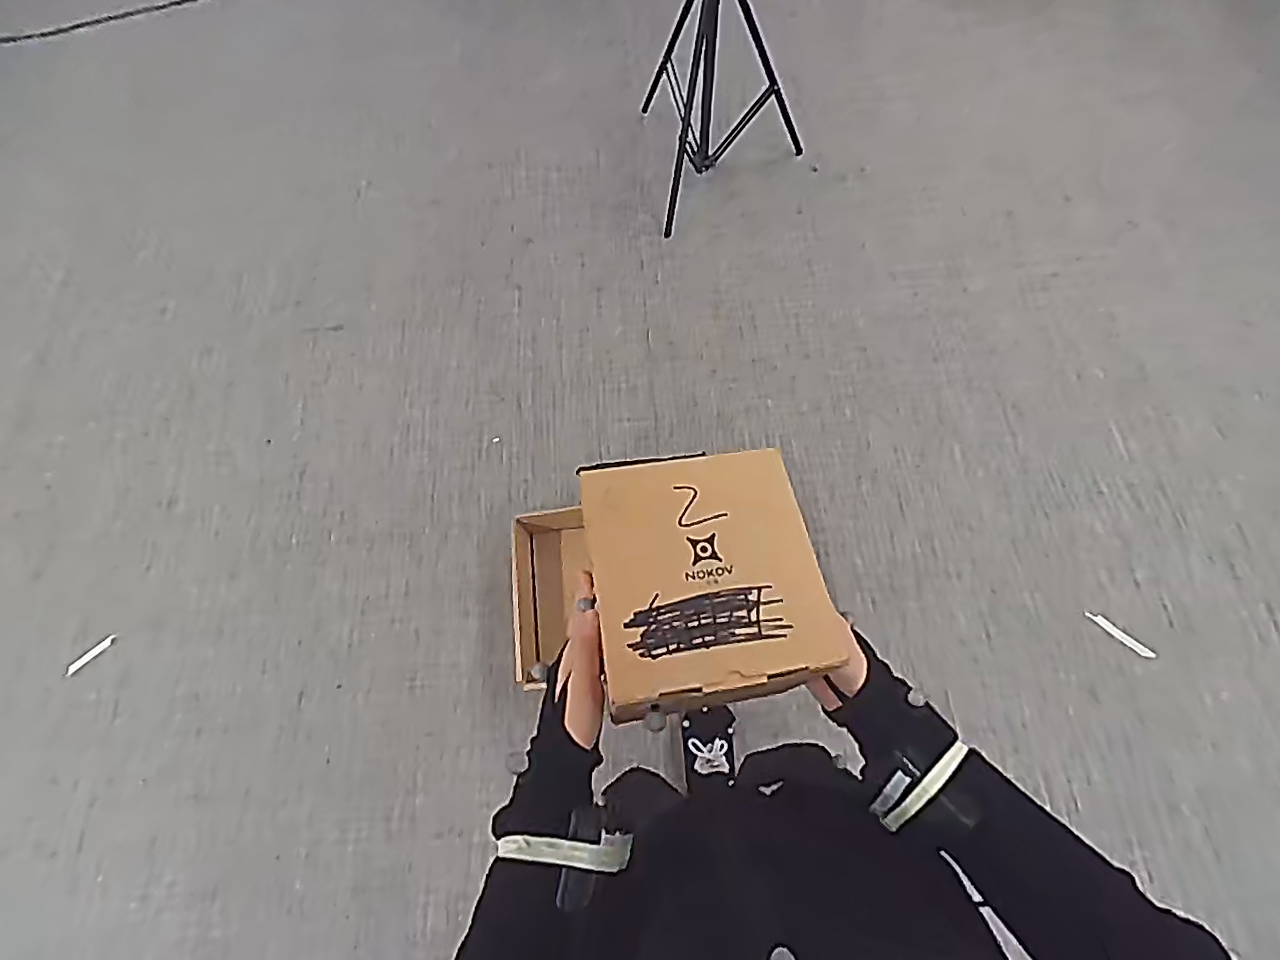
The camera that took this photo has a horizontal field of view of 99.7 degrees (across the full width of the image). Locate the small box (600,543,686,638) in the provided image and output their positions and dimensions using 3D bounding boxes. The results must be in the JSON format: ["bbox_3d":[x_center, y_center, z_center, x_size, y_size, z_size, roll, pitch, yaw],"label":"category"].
[{"bbox_3d":[0.008,0.266,1.280,0.168,0.176,0.179,-13,70,-1],"label":"small box"}]
